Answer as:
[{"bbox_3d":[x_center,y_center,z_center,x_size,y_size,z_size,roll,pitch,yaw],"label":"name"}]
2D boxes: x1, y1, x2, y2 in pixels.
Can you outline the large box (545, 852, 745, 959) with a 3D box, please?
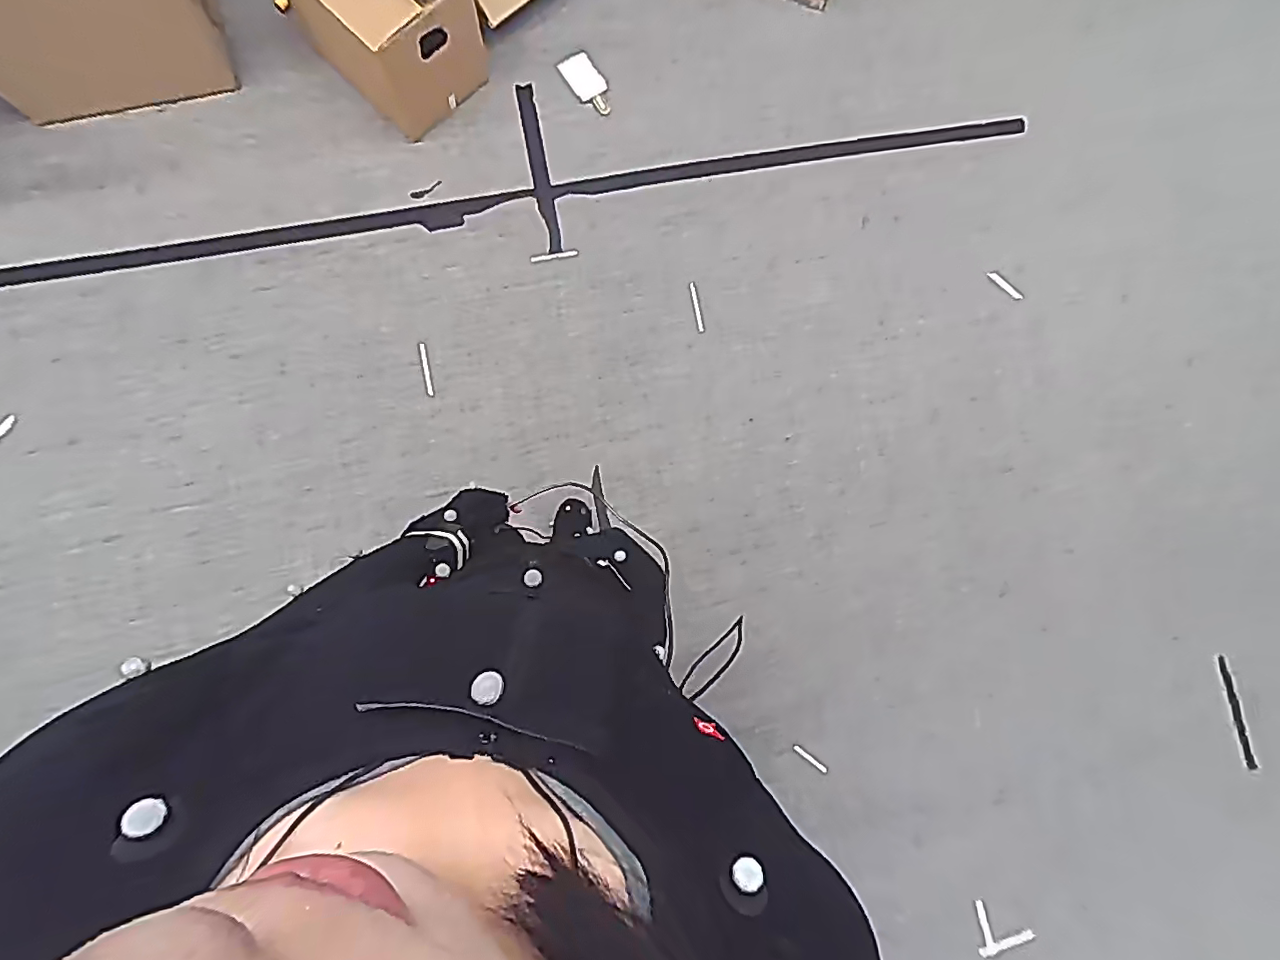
[{"bbox_3d":[0.030,1.092,1.146,0.408,0.320,0.320,-15,86,-7],"label":"large box"}]
